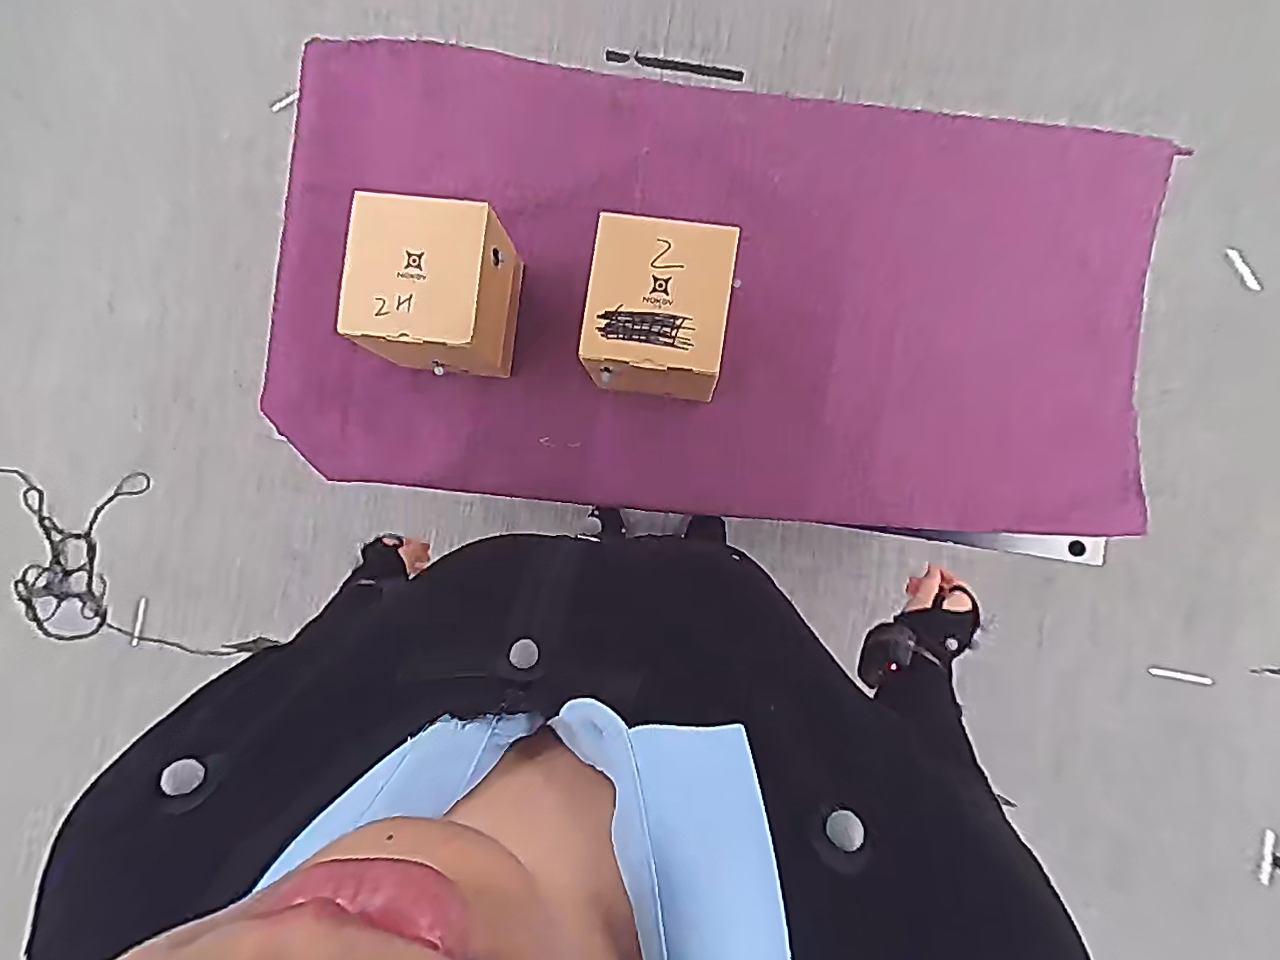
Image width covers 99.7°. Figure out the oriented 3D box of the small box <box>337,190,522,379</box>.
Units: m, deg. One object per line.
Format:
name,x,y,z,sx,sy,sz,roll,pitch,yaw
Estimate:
small box,-0.261,-0.245,0.712,0.168,0.176,0.179,6,88,2
